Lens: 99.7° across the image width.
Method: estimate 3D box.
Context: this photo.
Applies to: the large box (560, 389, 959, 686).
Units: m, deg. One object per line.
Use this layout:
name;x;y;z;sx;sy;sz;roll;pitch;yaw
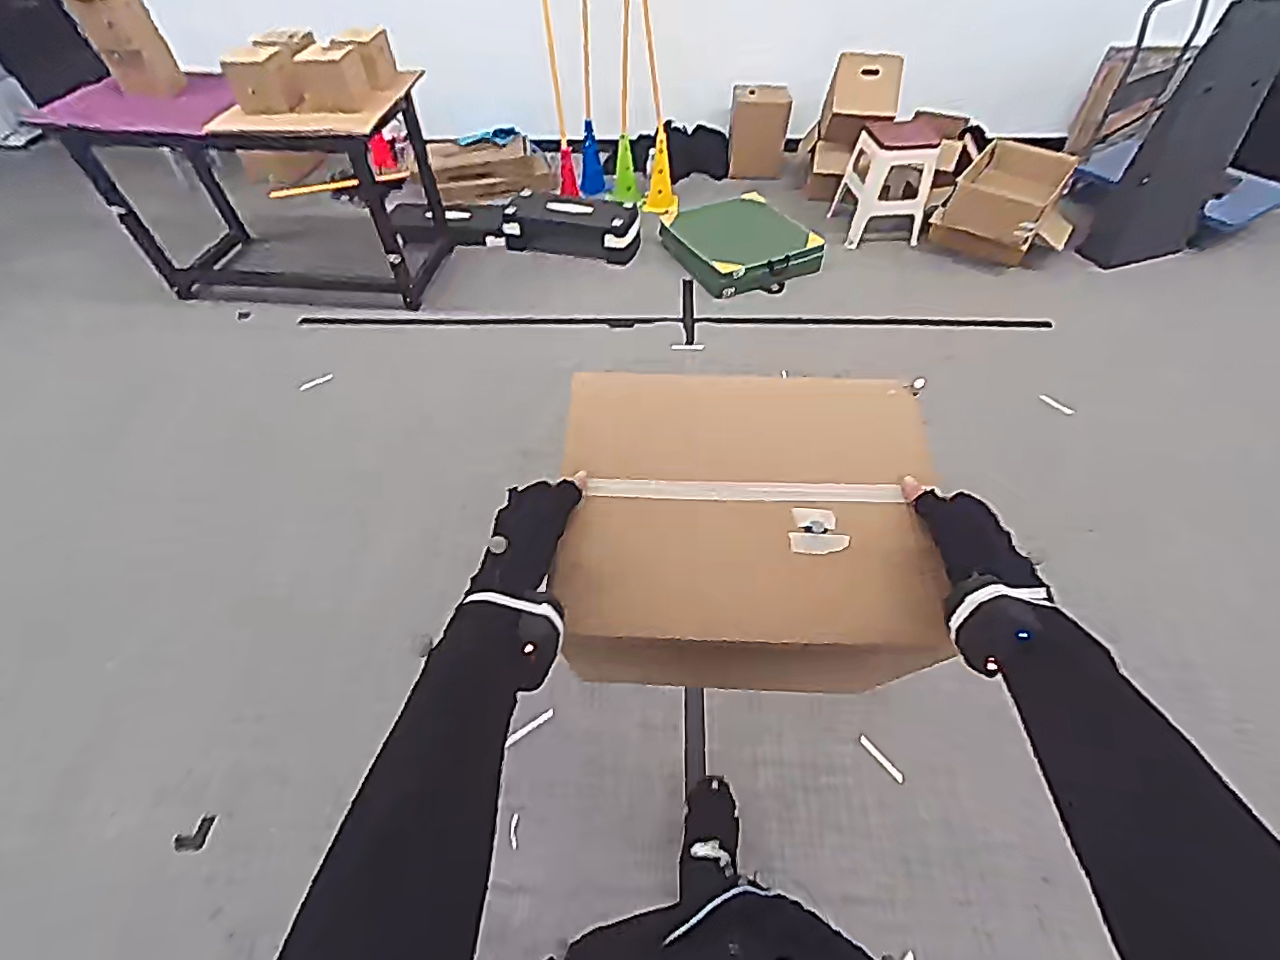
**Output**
large box;0.118;0.094;0.732;0.408;0.320;0.320;1;62;1
